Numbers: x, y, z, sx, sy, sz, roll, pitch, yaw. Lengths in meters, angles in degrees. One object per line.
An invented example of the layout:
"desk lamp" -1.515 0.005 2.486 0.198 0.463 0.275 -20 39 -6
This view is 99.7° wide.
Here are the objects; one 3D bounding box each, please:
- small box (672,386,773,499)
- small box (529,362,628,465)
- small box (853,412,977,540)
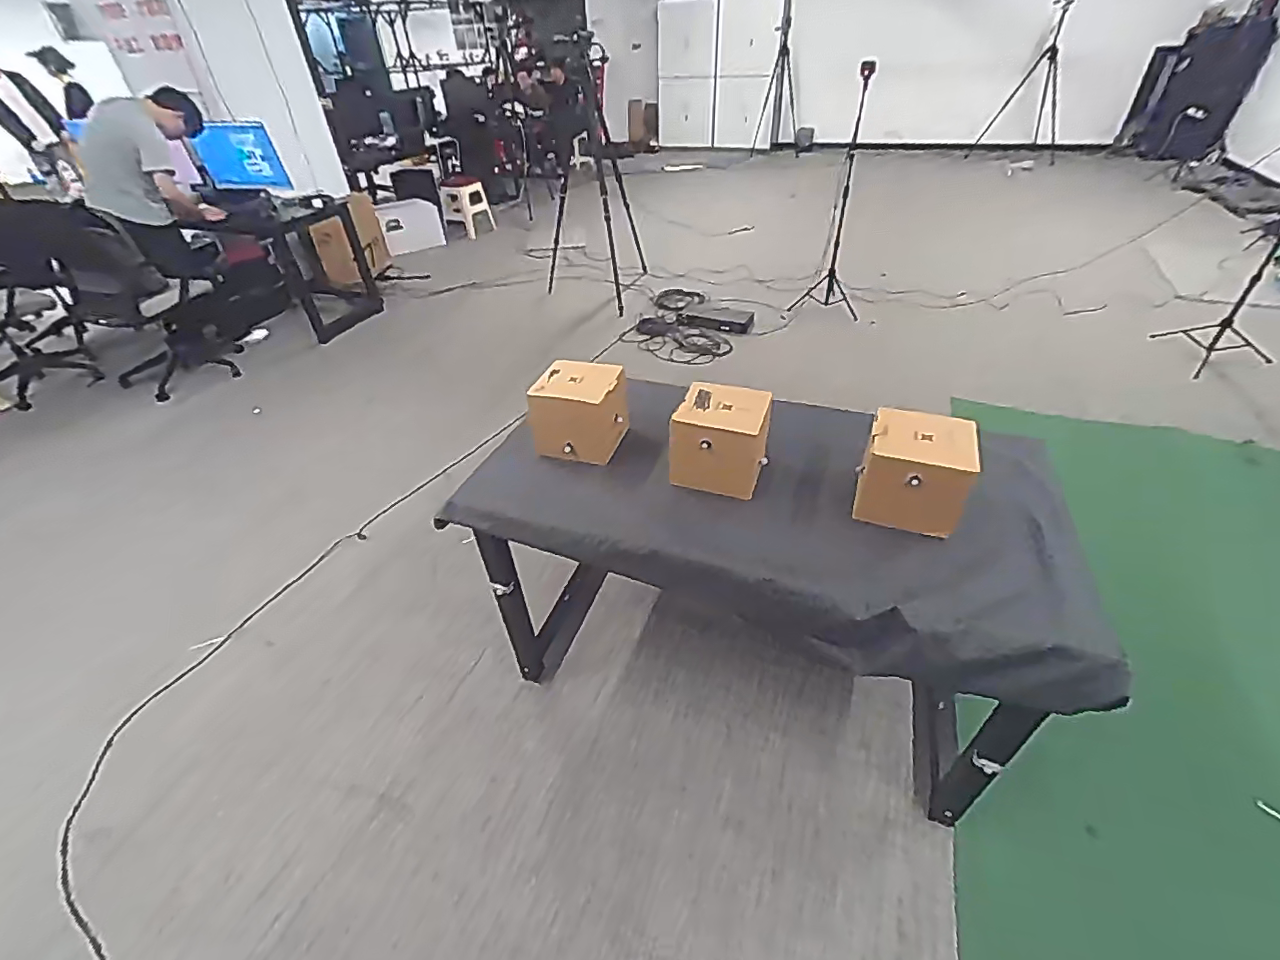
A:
"small box" 0.174 -0.080 1.157 0.179 0.176 0.168 12 42 17
"small box" -0.134 -0.153 1.265 0.179 0.176 0.168 11 41 15
"small box" 0.526 -0.008 1.051 0.179 0.176 0.168 14 43 18
